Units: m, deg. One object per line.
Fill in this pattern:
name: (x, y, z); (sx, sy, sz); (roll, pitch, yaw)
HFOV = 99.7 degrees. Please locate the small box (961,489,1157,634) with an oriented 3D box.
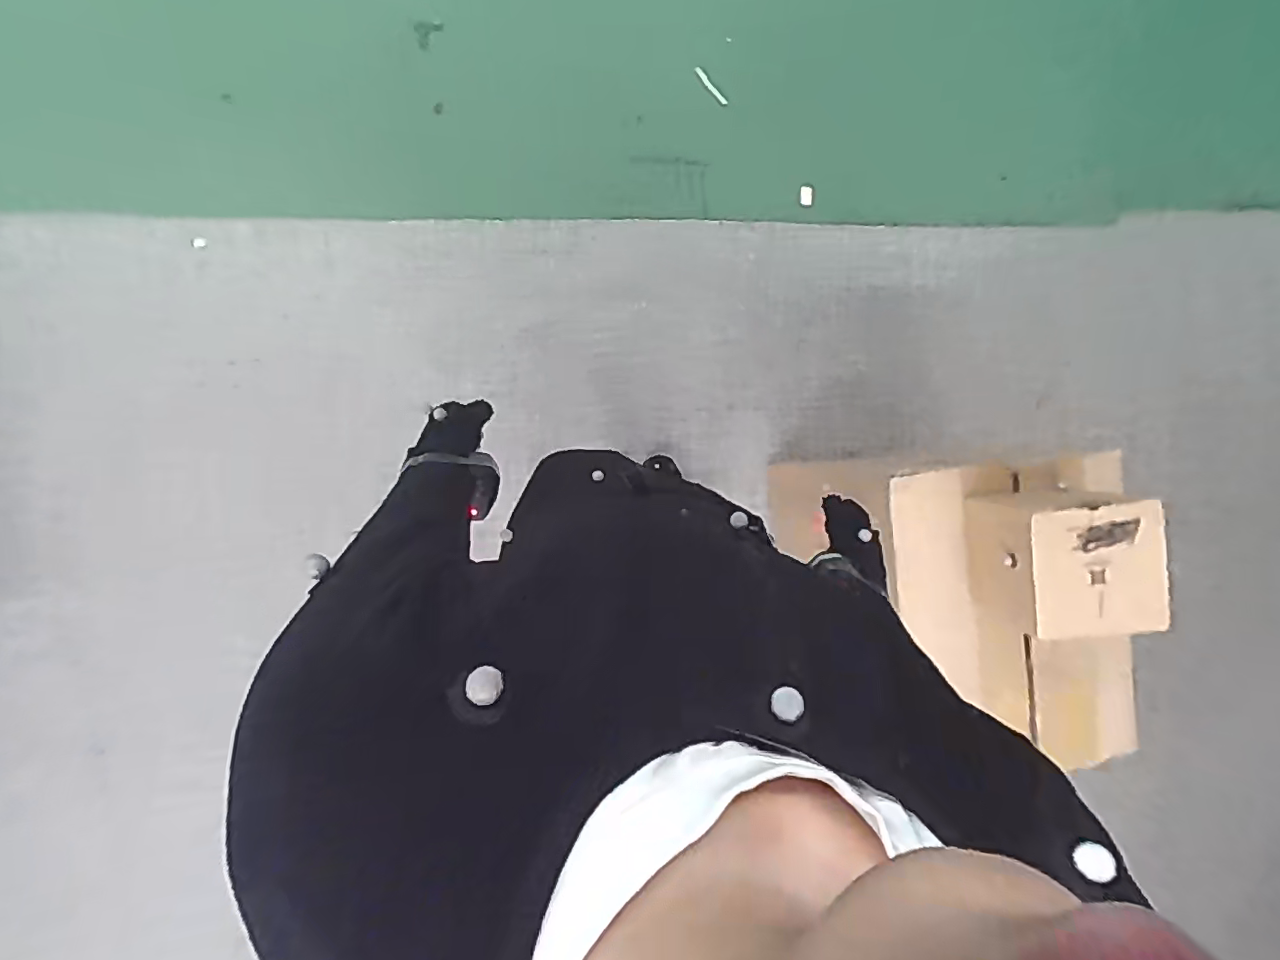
small box: (0.600, 0.109, 0.795); (0.168, 0.176, 0.179); (-6, 95, 4)
